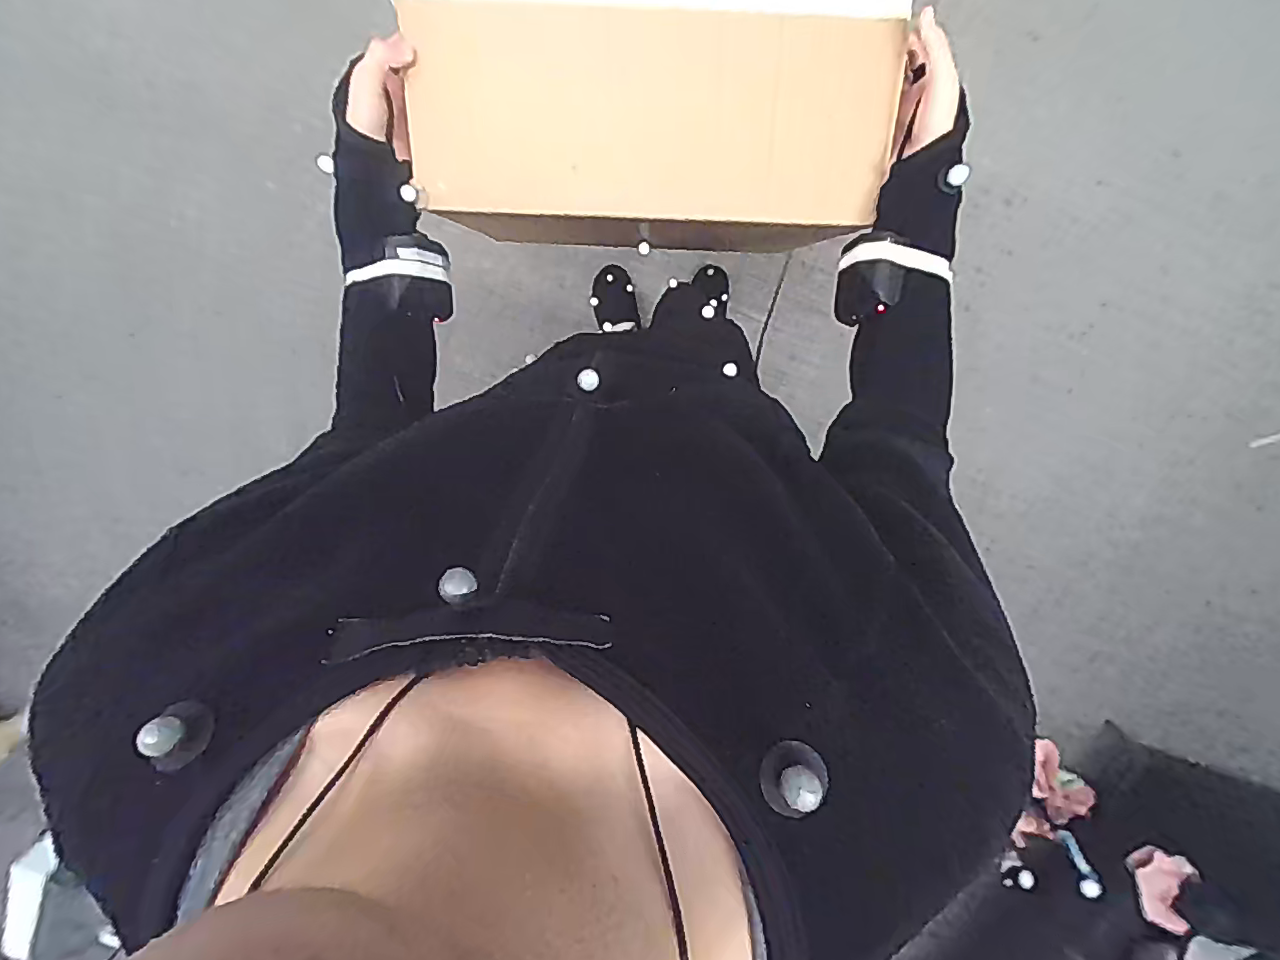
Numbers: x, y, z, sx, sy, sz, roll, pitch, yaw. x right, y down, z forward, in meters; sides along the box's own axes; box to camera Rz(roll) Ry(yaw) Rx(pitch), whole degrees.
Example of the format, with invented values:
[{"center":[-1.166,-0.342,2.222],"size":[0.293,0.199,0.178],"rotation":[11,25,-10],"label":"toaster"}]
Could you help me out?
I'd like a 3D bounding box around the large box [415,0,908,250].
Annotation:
[{"center":[0.017,-0.424,0.577],"size":[0.408,0.320,0.320],"rotation":[2,108,-2],"label":"large box"}]
